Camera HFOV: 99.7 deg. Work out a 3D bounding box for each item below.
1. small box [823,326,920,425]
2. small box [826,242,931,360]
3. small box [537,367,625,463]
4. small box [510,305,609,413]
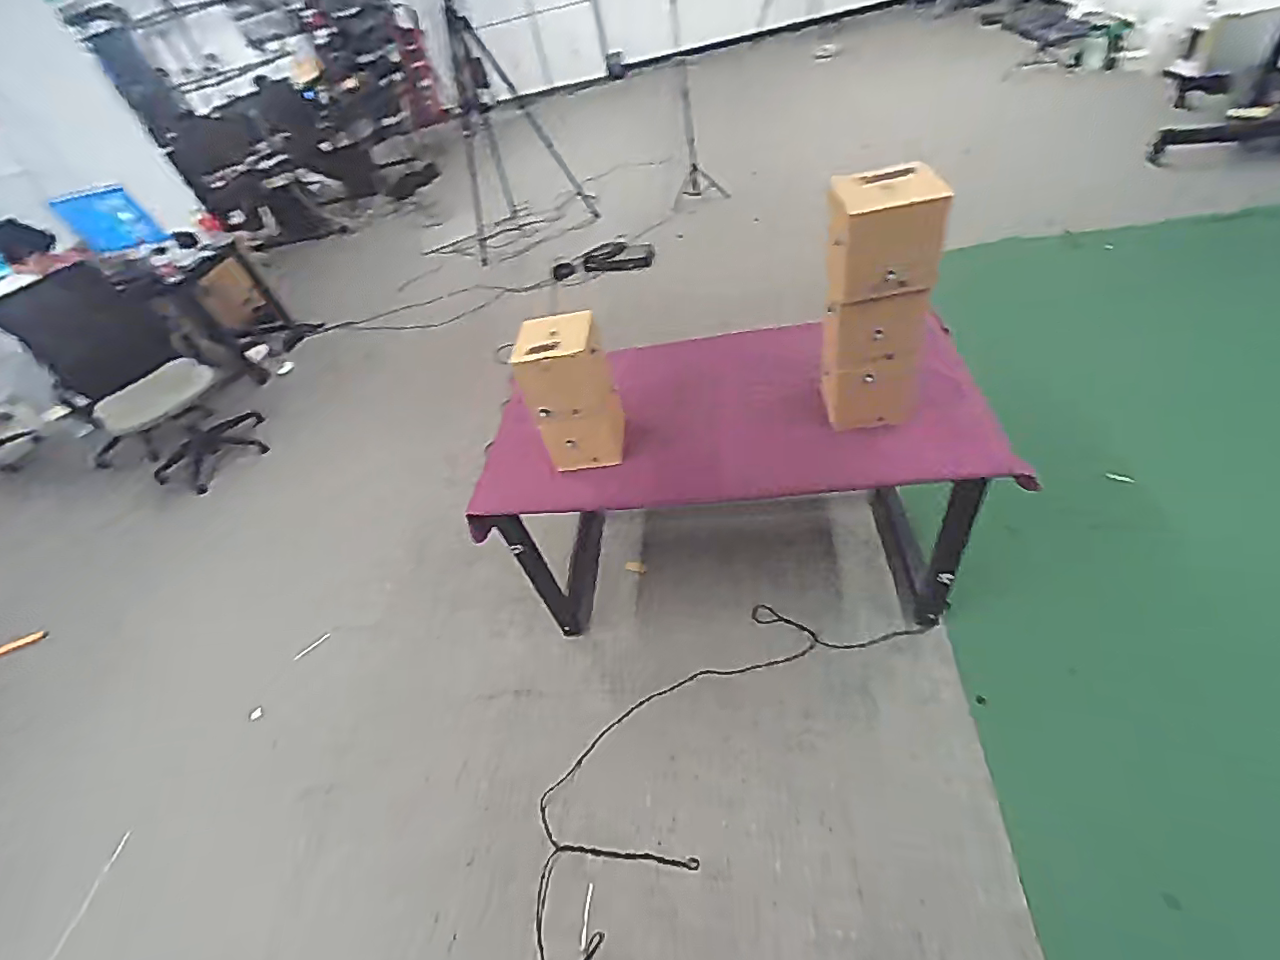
[{"bbox_3d":[0.516,-0.249,1.232,0.168,0.176,0.179,-6,45,12],"label":"small box"},{"bbox_3d":[0.482,-0.362,1.117,0.168,0.176,0.179,-4,46,12],"label":"small box"},{"bbox_3d":[-0.138,-0.155,1.337,0.168,0.176,0.179,-7,46,10],"label":"small box"},{"bbox_3d":[-0.172,-0.265,1.220,0.168,0.176,0.179,-6,45,10],"label":"small box"}]
